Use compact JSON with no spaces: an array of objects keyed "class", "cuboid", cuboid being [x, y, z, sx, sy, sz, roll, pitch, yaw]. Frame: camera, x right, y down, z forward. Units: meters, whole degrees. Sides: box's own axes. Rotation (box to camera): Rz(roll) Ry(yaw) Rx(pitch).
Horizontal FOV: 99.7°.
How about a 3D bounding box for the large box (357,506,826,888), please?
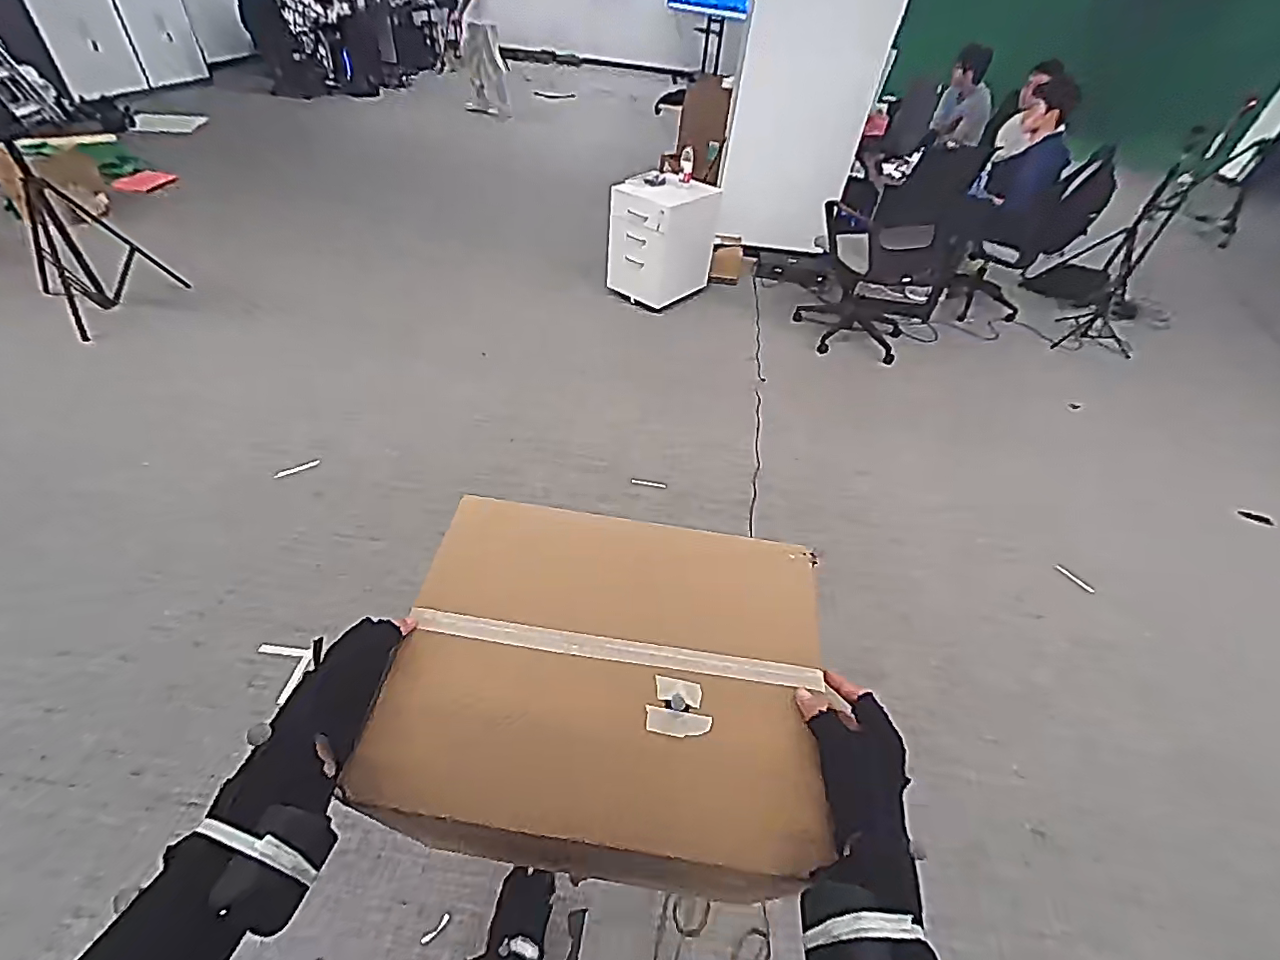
[{"class":"large box","cuboid":[-0.037,0.267,0.655,0.408,0.320,0.320,9,51,2]}]
